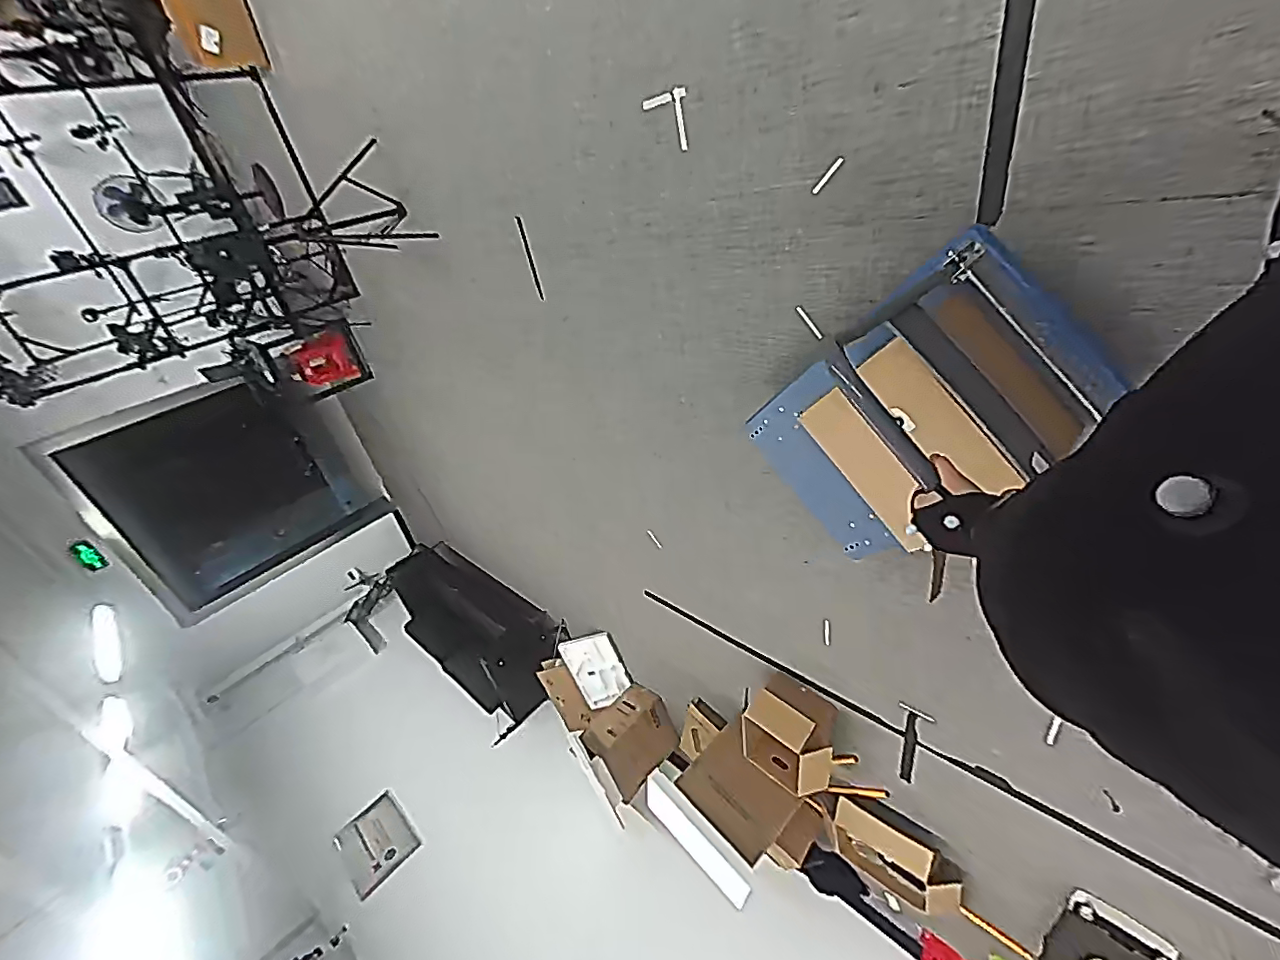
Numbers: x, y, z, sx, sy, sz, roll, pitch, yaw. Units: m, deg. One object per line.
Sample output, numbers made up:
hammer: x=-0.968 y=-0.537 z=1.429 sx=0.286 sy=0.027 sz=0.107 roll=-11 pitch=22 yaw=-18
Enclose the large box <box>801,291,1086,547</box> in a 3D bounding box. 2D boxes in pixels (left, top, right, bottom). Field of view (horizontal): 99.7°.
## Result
large box: x=0.656 y=-0.129 z=1.194 sx=0.408 sy=0.320 sz=0.320 roll=52 pitch=147 yaw=6
